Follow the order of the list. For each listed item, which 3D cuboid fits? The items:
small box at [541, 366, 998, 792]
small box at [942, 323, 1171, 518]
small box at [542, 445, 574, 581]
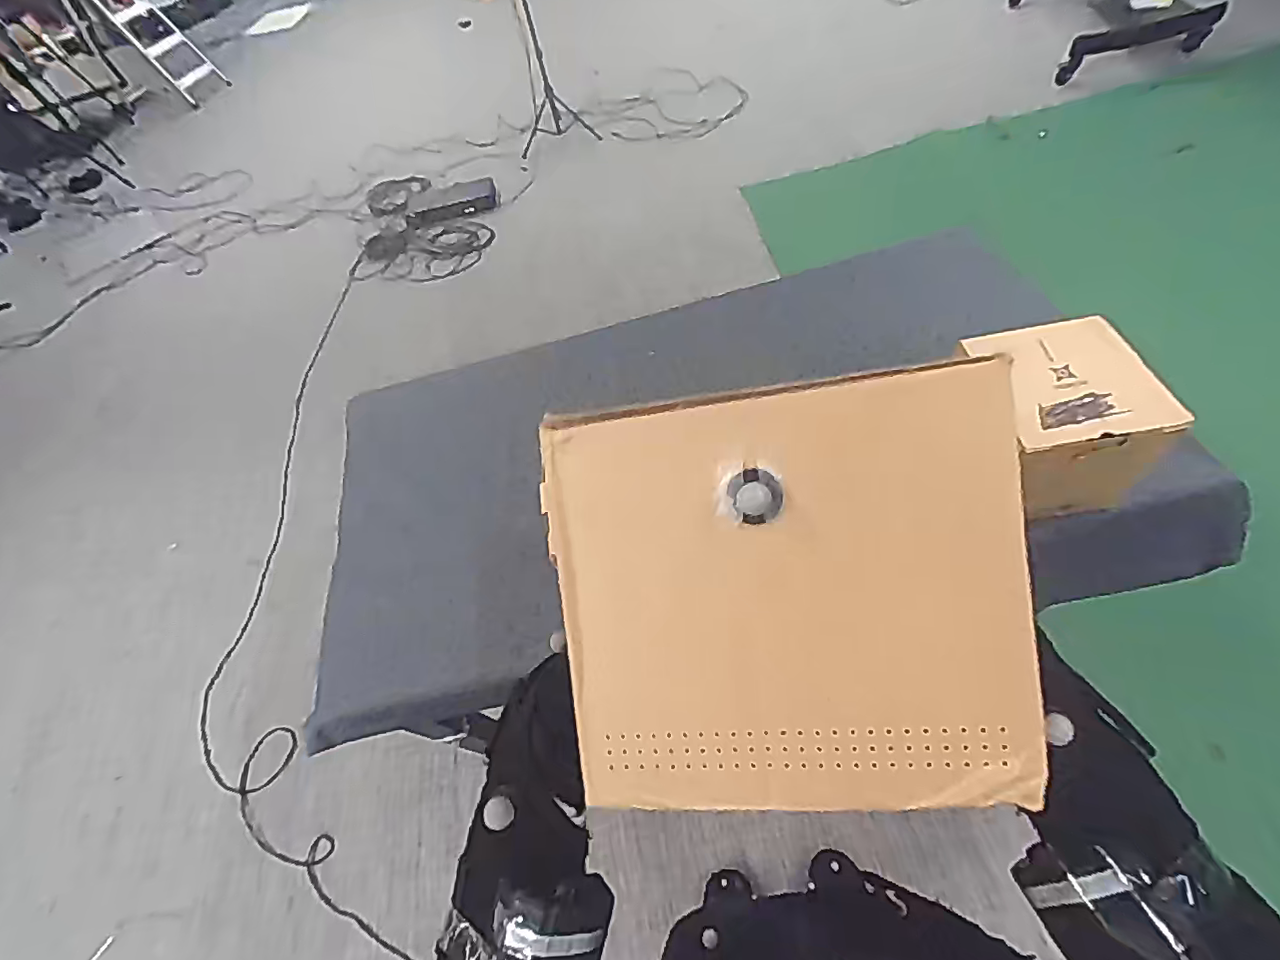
[{"bbox_3d":[0.064,0.044,0.297,0.179,0.168,0.176,-5,93,11],"label":"small box"},{"bbox_3d":[0.485,-0.064,0.684,0.168,0.176,0.179,-8,54,6],"label":"small box"},{"bbox_3d":[-0.017,0.045,0.710,0.179,0.176,0.168,-13,54,2],"label":"small box"}]
